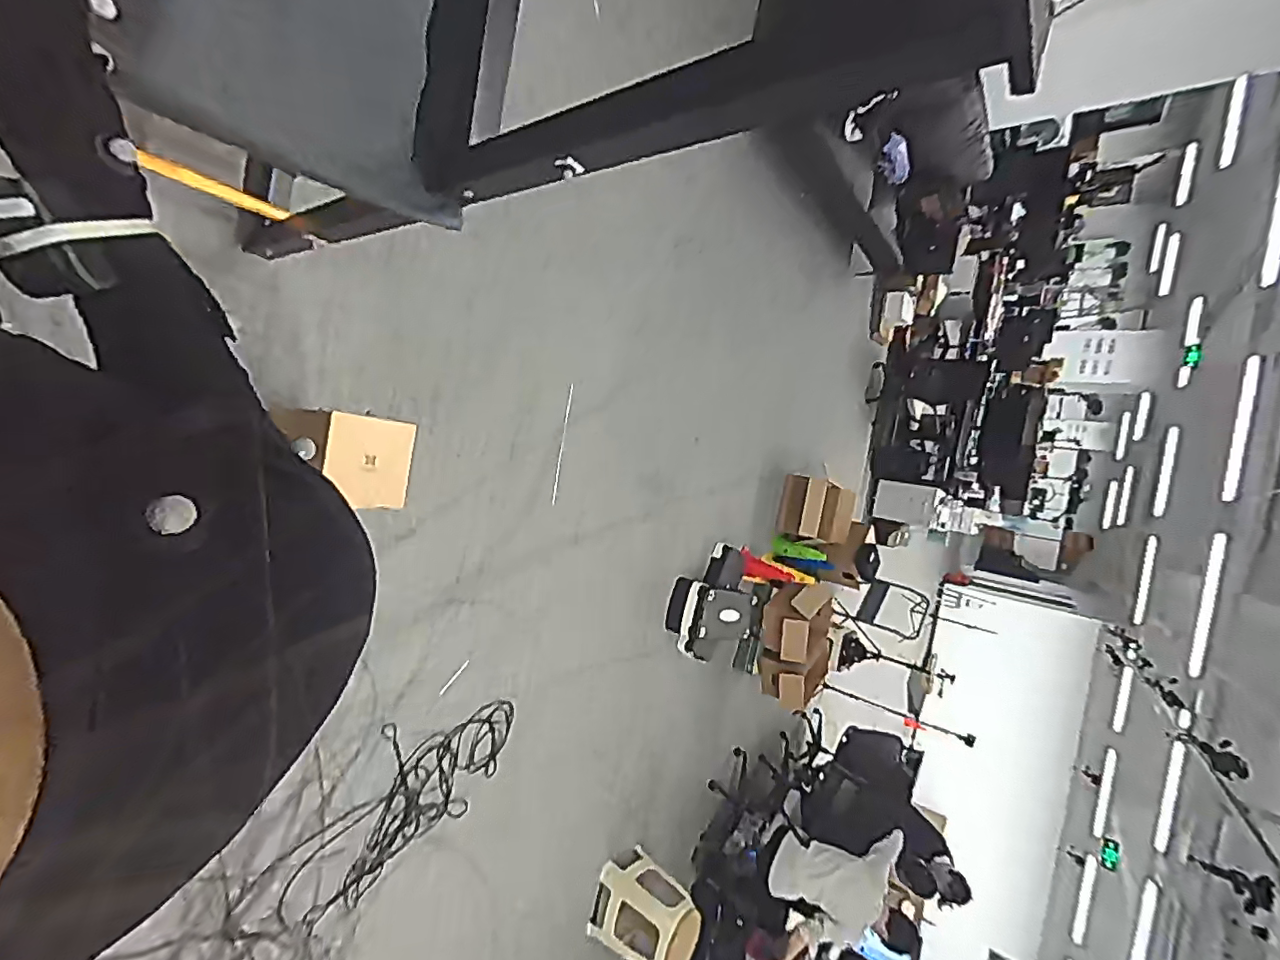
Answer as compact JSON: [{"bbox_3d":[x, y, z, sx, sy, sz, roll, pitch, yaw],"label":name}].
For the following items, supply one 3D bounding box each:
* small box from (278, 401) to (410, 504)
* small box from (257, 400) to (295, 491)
[{"bbox_3d":[-0.588,-0.055,1.072,0.168,0.176,0.179,8,93,-53],"label":"small box"},{"bbox_3d":[-0.710,-0.074,1.180,0.168,0.176,0.179,4,95,-53],"label":"small box"}]
